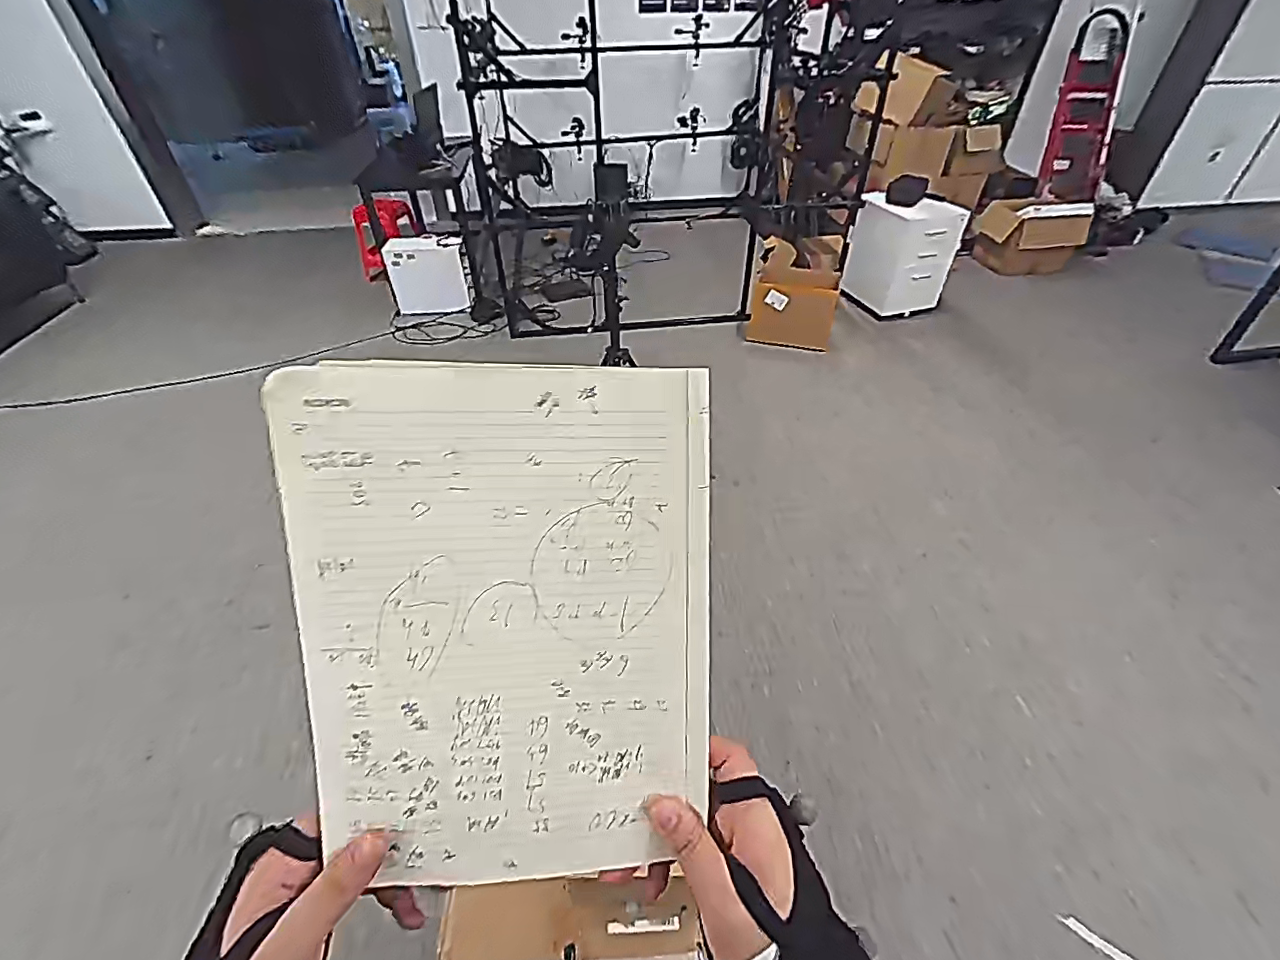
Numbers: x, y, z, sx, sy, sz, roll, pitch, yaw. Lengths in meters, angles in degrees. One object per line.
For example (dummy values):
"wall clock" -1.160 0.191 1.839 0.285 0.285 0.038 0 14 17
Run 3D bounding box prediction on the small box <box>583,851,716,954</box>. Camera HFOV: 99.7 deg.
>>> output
"small box" 0.003 0.579 0.801 0.179 0.176 0.168 -3 43 -5

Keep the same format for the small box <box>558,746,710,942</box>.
"small box" -0.011 0.461 0.686 0.168 0.176 0.179 1 44 -2
